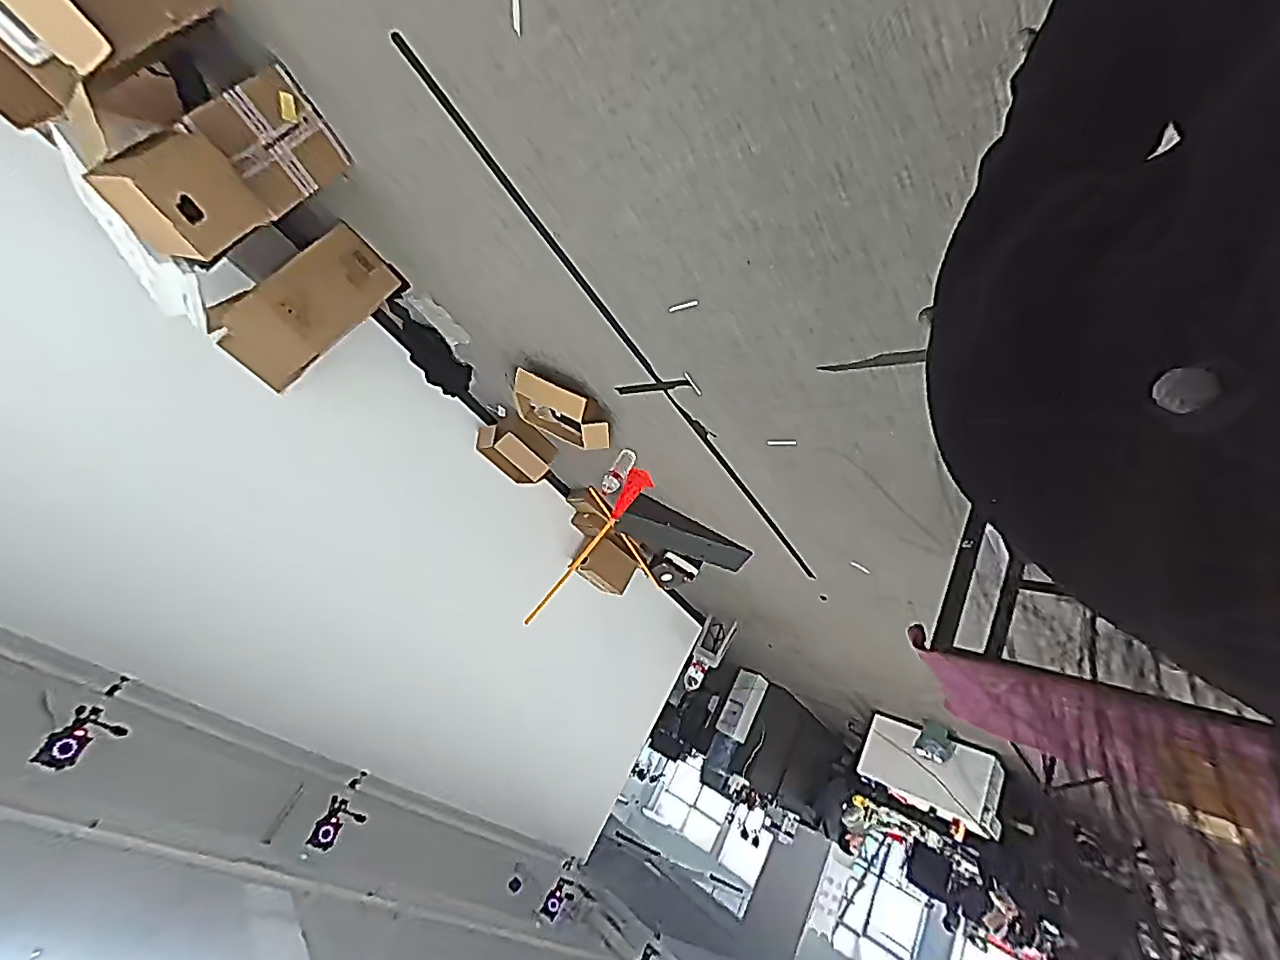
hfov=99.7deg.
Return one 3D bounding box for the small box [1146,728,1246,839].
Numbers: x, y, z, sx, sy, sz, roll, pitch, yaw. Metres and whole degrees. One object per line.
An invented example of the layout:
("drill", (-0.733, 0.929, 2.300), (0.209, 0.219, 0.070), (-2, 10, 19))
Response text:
("small box", (1.399, 0.761, 1.365), (0.168, 0.176, 0.179), (4, 145, 45))
